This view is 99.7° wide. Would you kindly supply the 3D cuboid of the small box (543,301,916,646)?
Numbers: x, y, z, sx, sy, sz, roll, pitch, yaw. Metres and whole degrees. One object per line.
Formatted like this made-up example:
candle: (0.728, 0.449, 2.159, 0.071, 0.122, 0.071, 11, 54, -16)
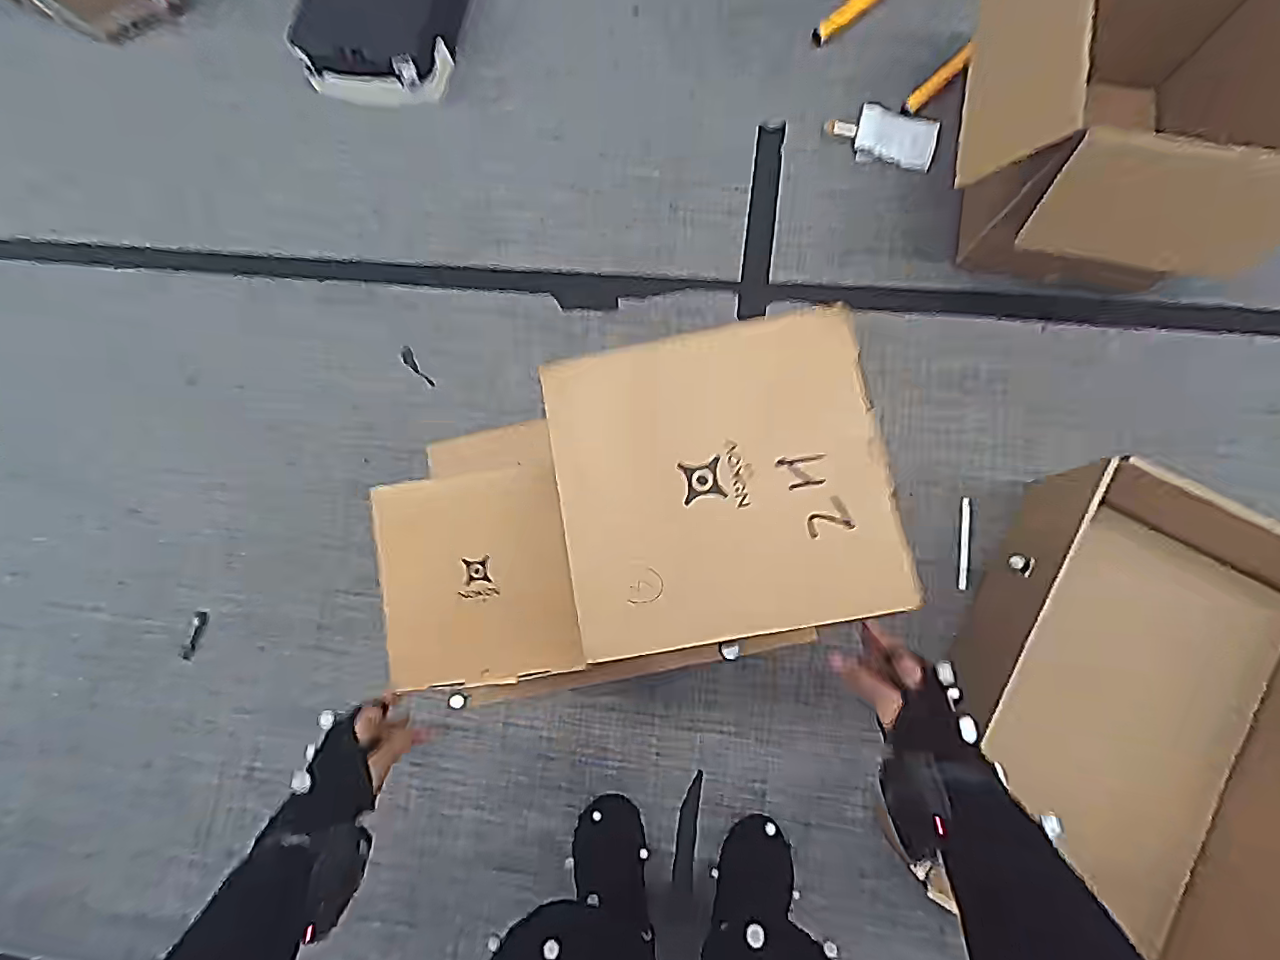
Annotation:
small box: (0.049, 0.008, 0.368, 0.179, 0.176, 0.168, -11, 80, 4)
